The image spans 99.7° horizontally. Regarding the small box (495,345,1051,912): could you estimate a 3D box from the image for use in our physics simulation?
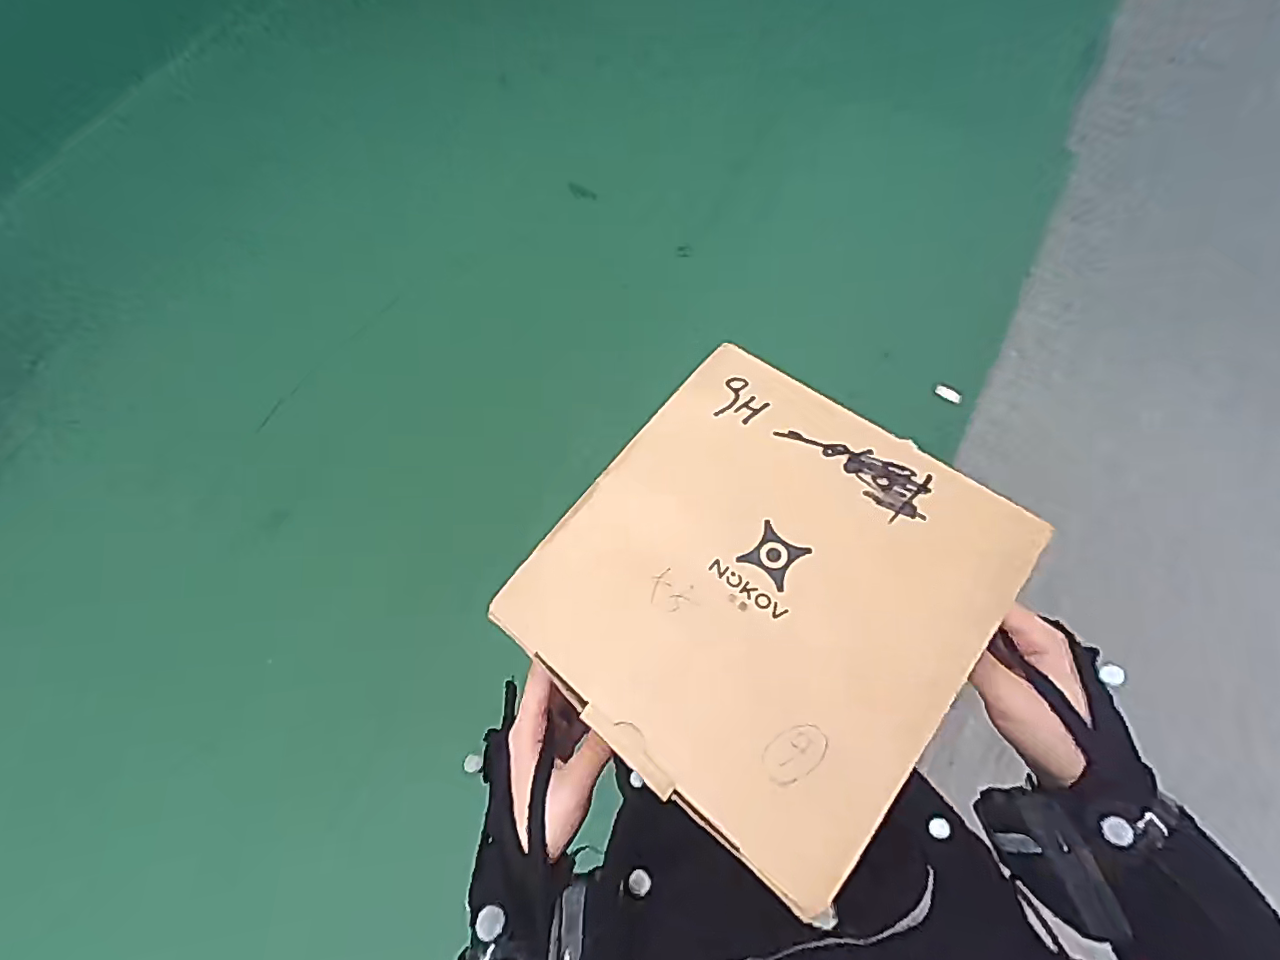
[{"bbox_3d":[0.061,0.070,0.299,0.168,0.176,0.179,38,77,21],"label":"small box"}]
